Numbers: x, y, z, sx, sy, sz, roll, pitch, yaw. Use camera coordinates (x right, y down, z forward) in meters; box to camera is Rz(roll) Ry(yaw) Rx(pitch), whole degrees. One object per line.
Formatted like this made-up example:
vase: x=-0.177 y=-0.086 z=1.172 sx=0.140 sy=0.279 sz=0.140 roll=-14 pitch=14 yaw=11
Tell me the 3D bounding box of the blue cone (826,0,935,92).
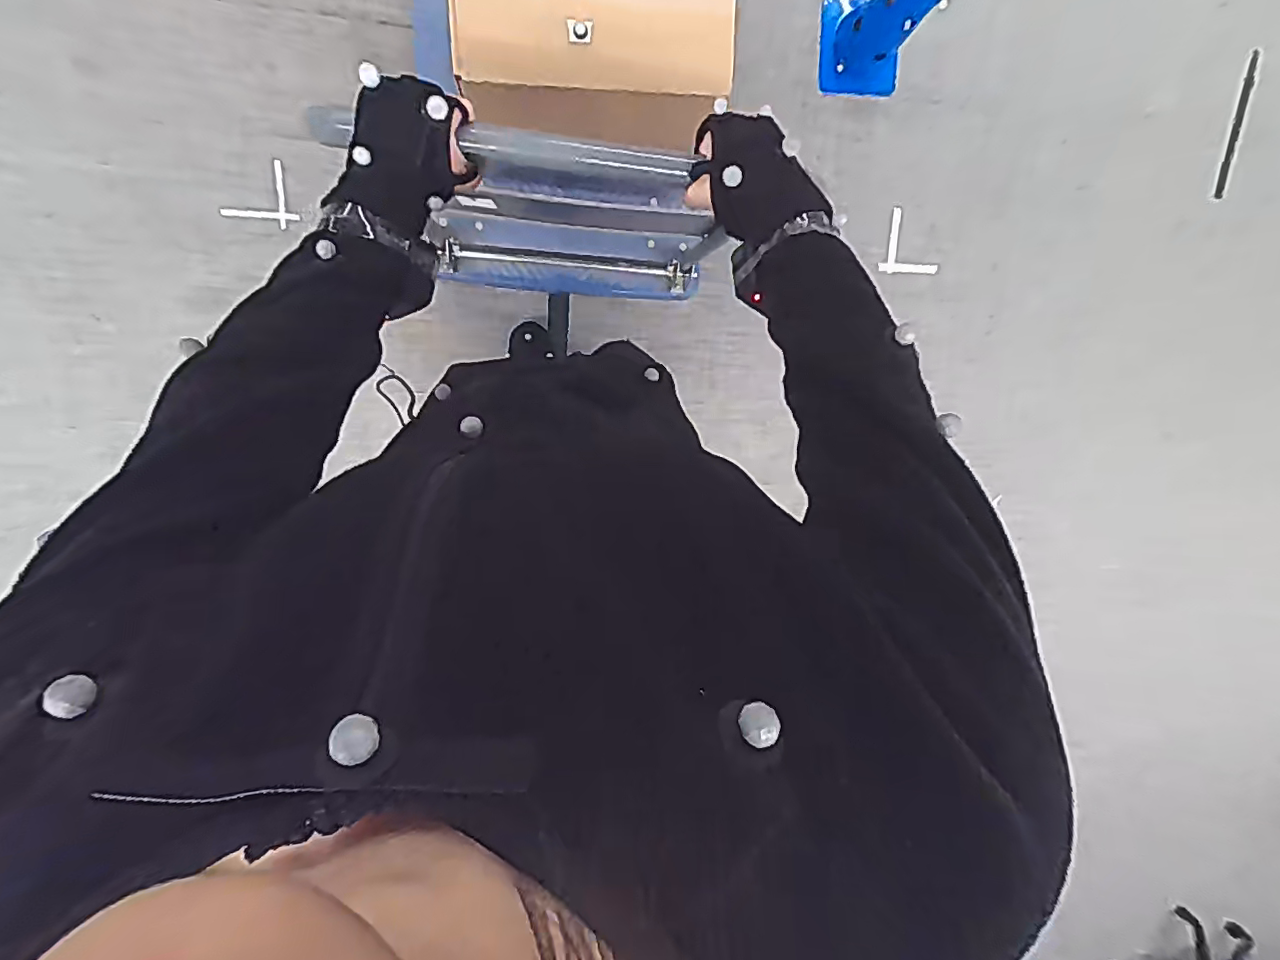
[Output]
blue cone: x=0.558 y=-0.991 z=1.123 sx=0.193 sy=0.380 sz=0.192 roll=-3 pitch=104 yaw=-10
